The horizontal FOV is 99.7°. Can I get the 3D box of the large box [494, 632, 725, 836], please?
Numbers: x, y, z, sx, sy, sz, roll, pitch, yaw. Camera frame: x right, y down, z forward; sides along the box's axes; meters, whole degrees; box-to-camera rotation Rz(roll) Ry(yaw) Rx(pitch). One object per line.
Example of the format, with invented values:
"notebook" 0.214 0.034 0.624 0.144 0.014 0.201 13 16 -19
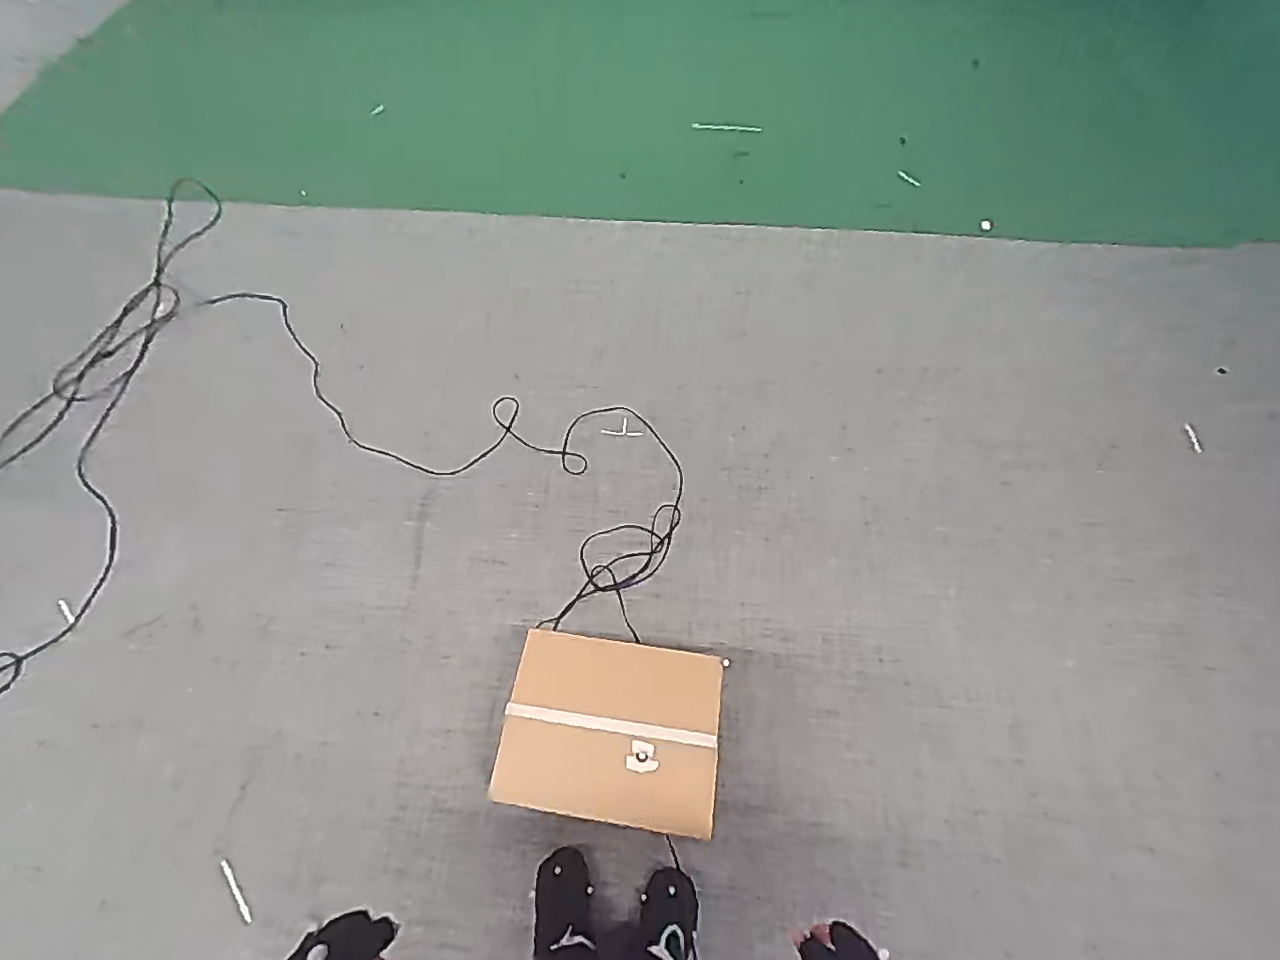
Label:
"large box" -0.047 0.540 1.152 0.408 0.320 0.320 7 61 5
